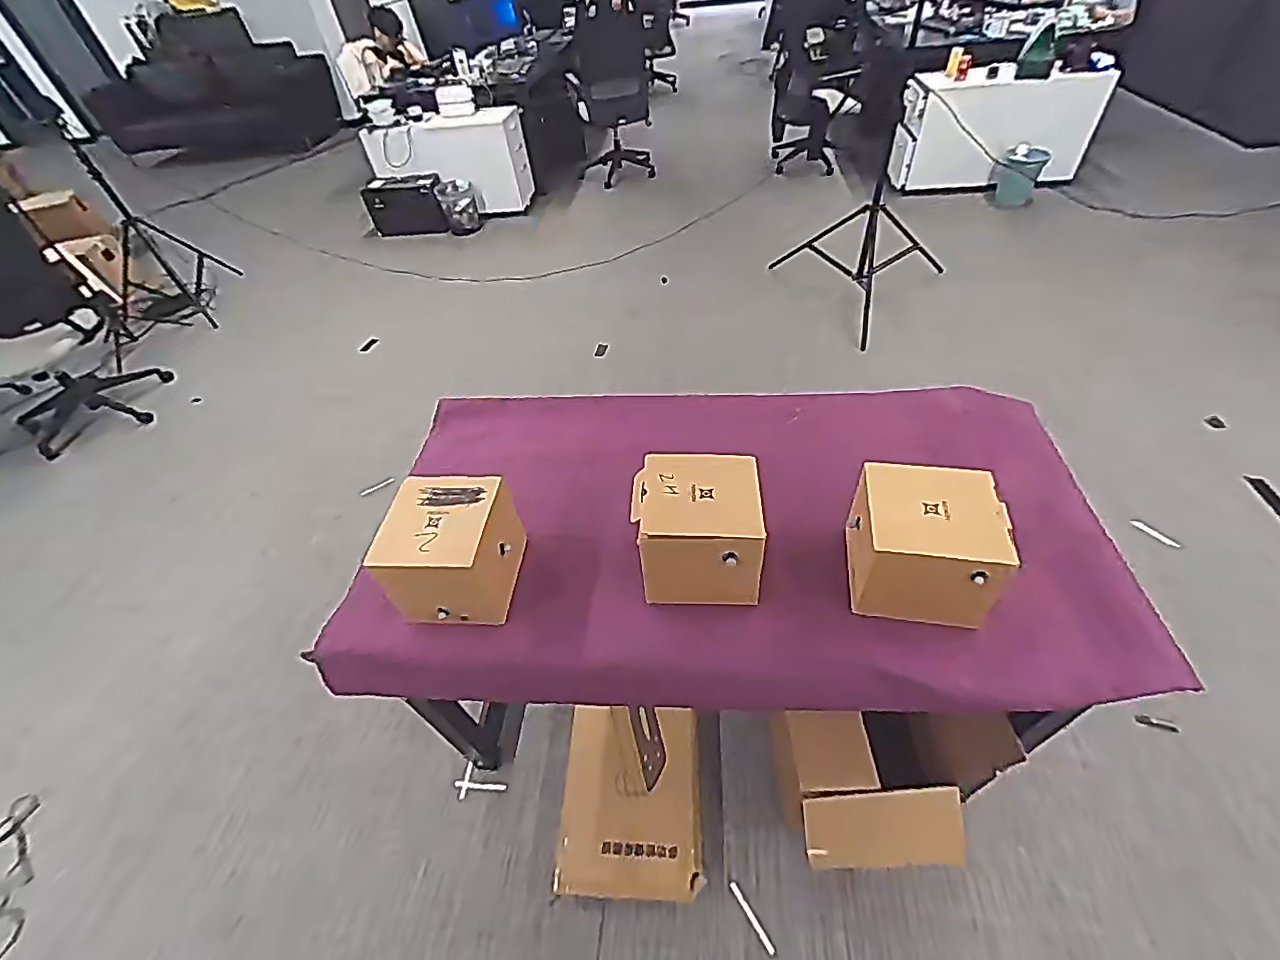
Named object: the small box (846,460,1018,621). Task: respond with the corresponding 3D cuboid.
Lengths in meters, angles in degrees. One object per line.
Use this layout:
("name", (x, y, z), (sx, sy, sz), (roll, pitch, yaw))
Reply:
("small box", (0.409, 0.091, 0.798), (0.179, 0.176, 0.168), (4, 48, 11))

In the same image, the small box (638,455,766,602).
("small box", (0.095, 0.078, 0.847), (0.179, 0.176, 0.168), (-1, 45, 6))
